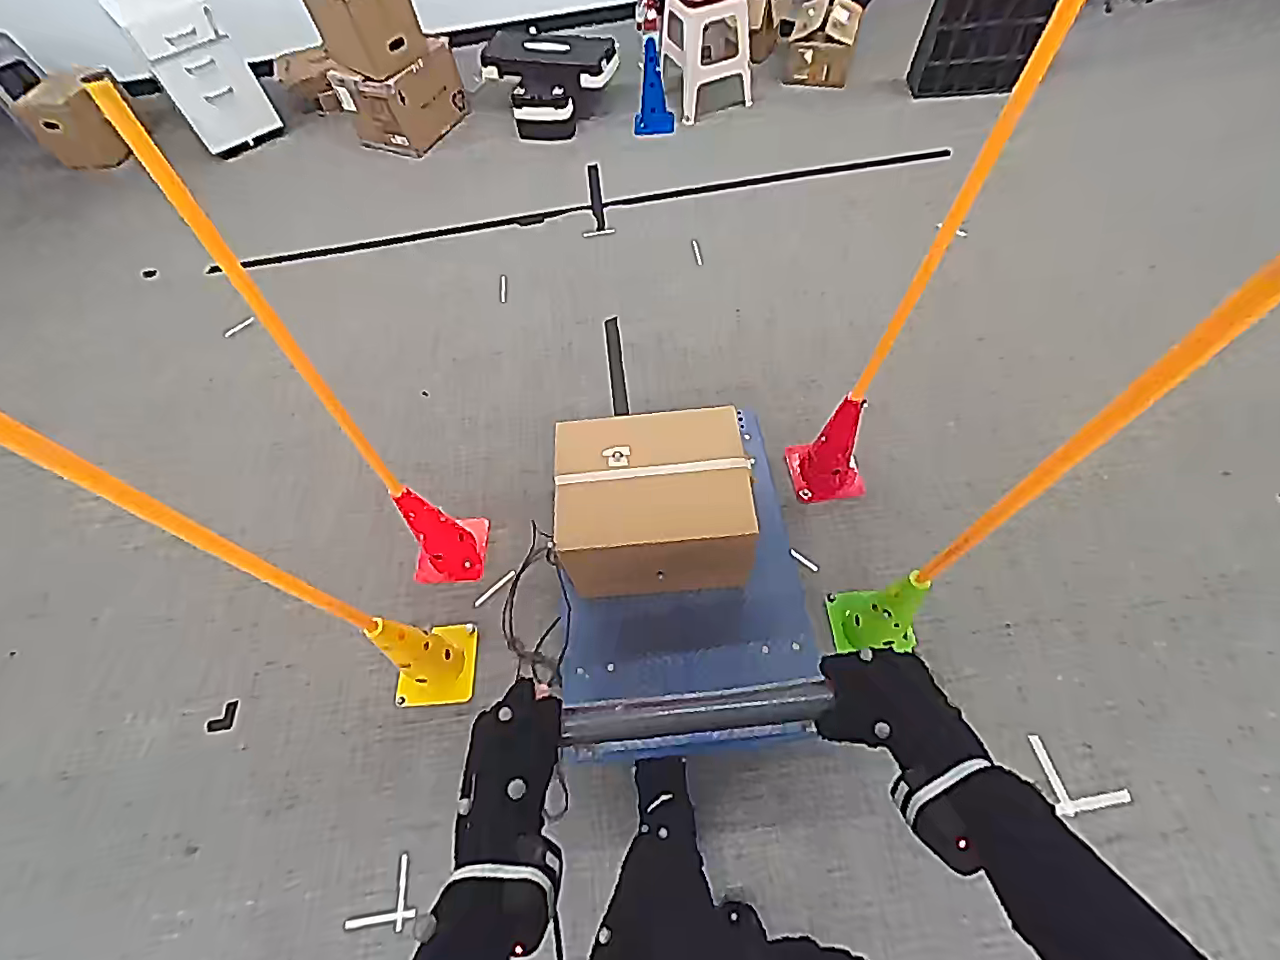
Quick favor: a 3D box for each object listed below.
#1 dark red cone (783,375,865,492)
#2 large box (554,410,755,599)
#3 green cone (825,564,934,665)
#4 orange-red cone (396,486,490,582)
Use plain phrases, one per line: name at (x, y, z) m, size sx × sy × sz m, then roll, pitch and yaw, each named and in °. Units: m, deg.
dark red cone at (0.538, -0.139, 1.480) m, size 0.201 × 0.394 × 0.202 m, roll -8°, pitch 59°, yaw -1°
large box at (0.032, 0.070, 1.262) m, size 0.408 × 0.320 × 0.320 m, roll -6°, pitch 60°, yaw 3°
green cone at (0.582, 0.283, 1.245) m, size 0.202 × 0.368 × 0.200 m, roll -5°, pitch 59°, yaw 1°
orange-red cone at (-0.566, 0.120, 1.461) m, size 0.198 × 0.360 × 0.199 m, roll -2°, pitch 58°, yaw 3°
